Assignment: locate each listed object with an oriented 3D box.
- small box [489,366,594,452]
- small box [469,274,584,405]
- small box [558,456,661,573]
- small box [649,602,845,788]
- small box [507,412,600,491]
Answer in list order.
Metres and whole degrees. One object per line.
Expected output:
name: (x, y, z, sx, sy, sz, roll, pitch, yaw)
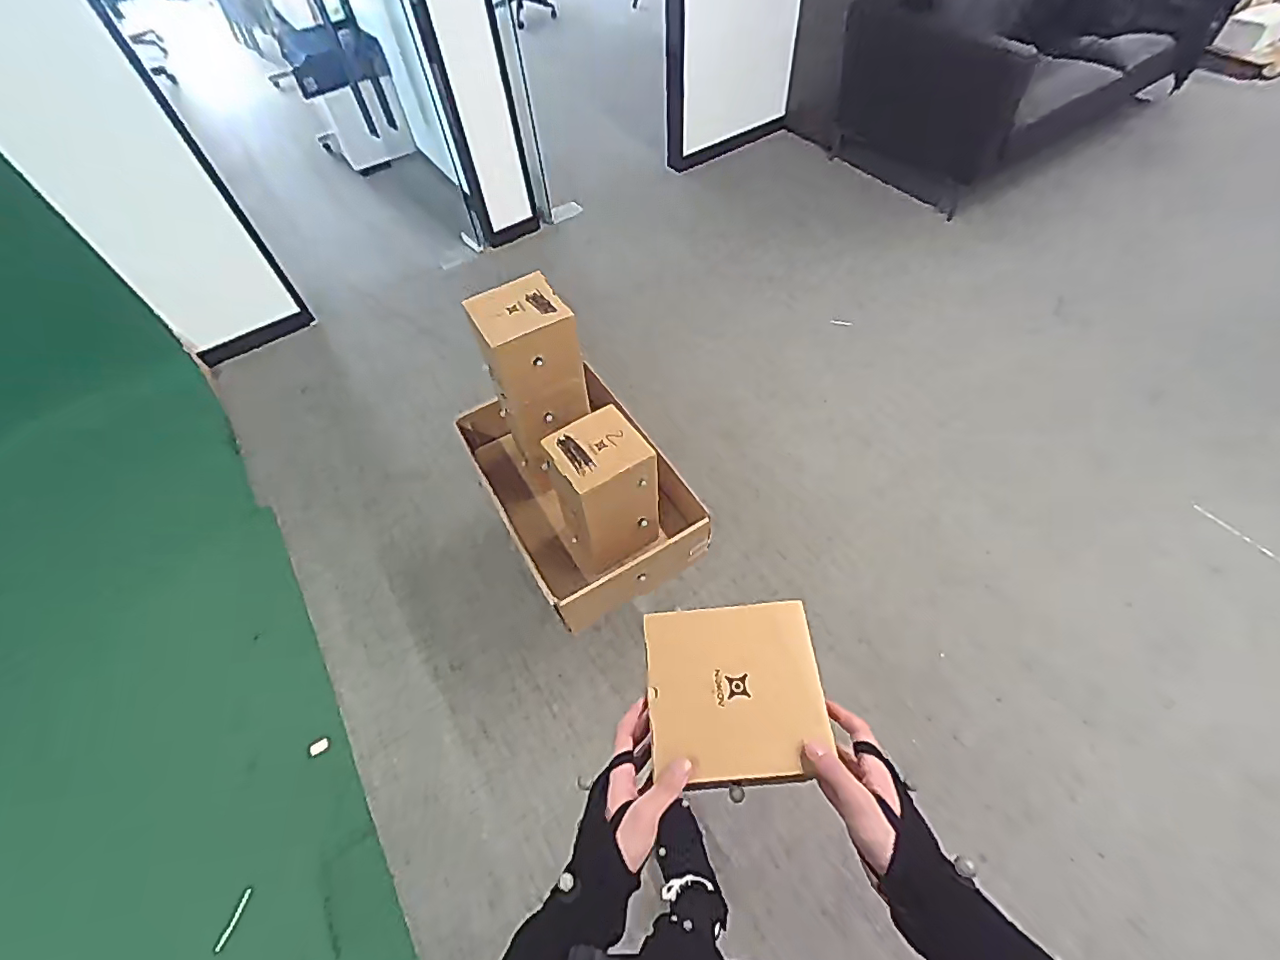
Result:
small box: (-0.223, -0.195, 1.263, 0.179, 0.176, 0.168, -26, 60, -14)
small box: (-0.227, -0.289, 1.127, 0.179, 0.176, 0.168, -27, 59, -15)
small box: (-0.068, 0.082, 1.256, 0.179, 0.176, 0.168, -29, 58, -16)
small box: (0.107, 0.248, 0.611, 0.179, 0.176, 0.168, -6, 58, 3)
small box: (-0.218, -0.099, 1.396, 0.179, 0.176, 0.168, -24, 58, -15)
